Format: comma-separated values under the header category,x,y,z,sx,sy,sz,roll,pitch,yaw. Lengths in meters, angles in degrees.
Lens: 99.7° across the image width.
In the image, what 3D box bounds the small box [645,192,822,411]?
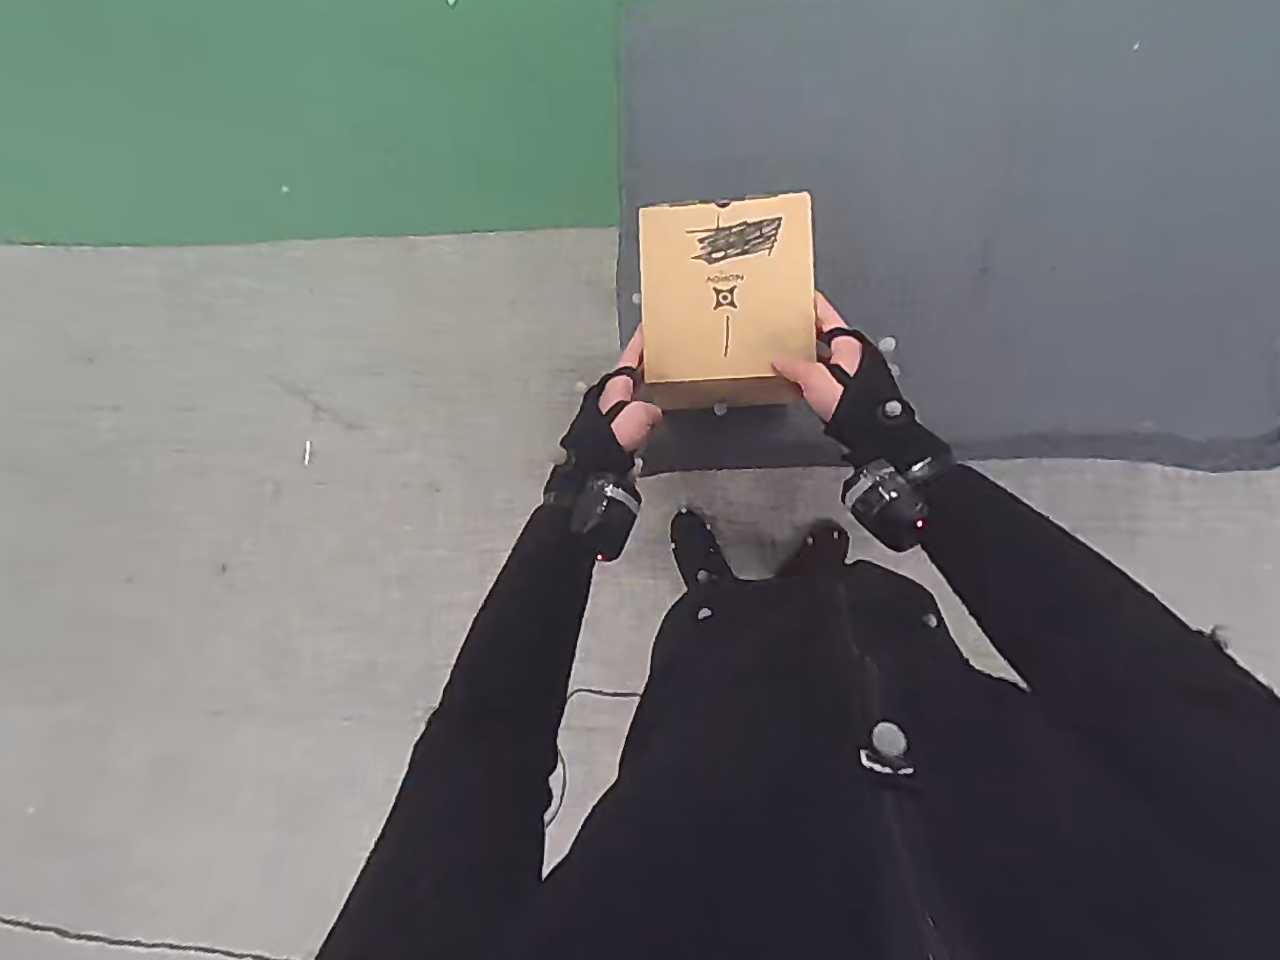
category,x,y,z,sx,sy,sz,roll,pitch,yaw
small box,0.095,-0.178,0.590,0.168,0.176,0.179,-2,87,8
